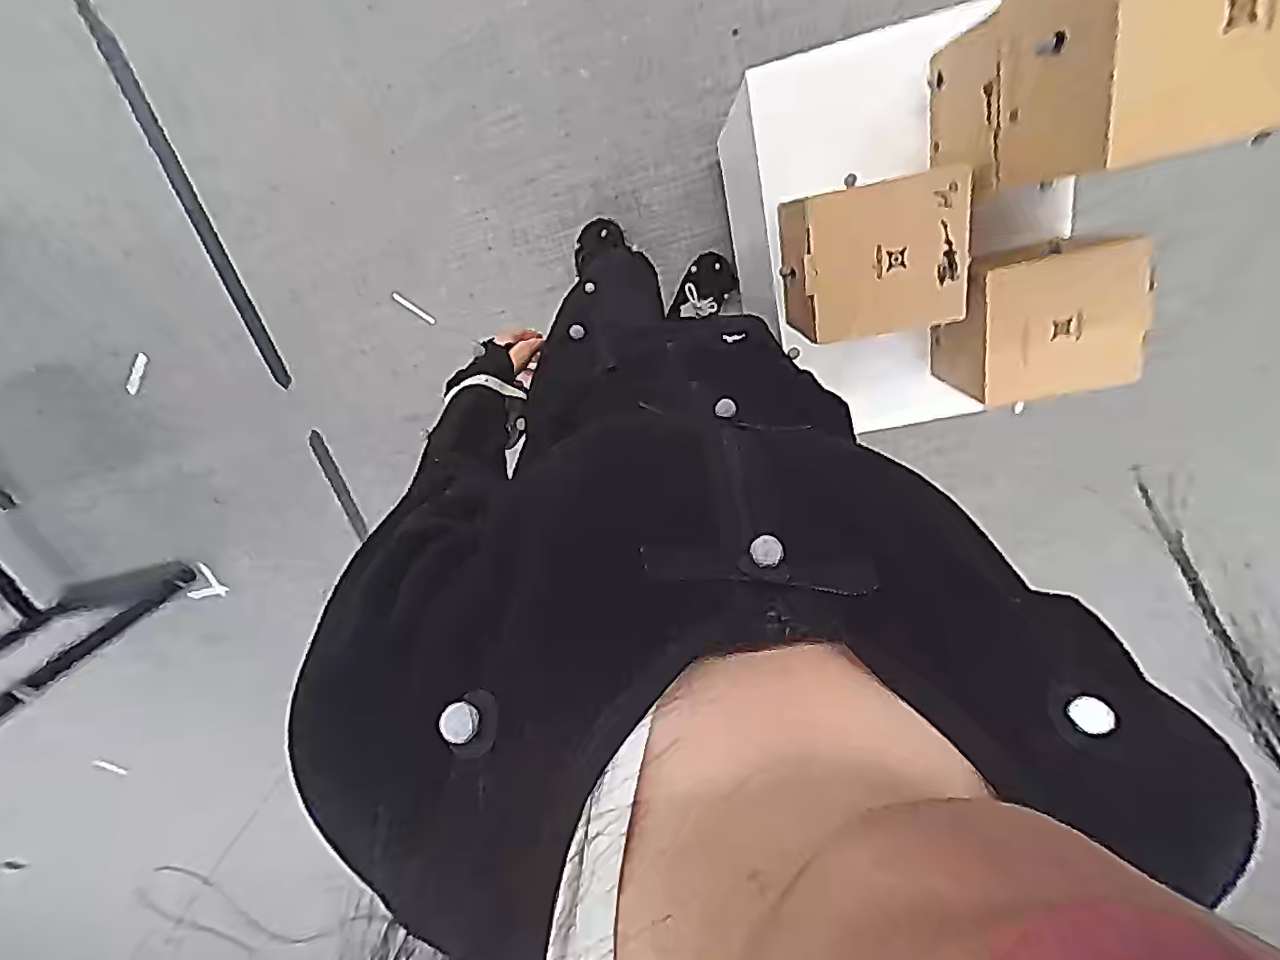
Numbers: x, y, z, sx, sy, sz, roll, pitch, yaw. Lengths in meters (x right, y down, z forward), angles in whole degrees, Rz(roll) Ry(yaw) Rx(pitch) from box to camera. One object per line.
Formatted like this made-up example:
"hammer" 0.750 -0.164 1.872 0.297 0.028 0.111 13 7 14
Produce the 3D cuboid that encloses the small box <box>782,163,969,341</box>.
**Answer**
"small box" 0.281 -0.282 0.684 0.179 0.176 0.168 -8 114 7

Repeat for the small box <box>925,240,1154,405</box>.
"small box" 0.498 -0.211 0.704 0.179 0.176 0.168 -9 112 10

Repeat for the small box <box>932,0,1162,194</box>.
"small box" 0.448 -0.427 0.607 0.179 0.176 0.168 -10 114 8

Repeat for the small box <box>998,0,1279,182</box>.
"small box" 0.434 -0.367 0.457 0.179 0.176 0.168 -12 114 9
